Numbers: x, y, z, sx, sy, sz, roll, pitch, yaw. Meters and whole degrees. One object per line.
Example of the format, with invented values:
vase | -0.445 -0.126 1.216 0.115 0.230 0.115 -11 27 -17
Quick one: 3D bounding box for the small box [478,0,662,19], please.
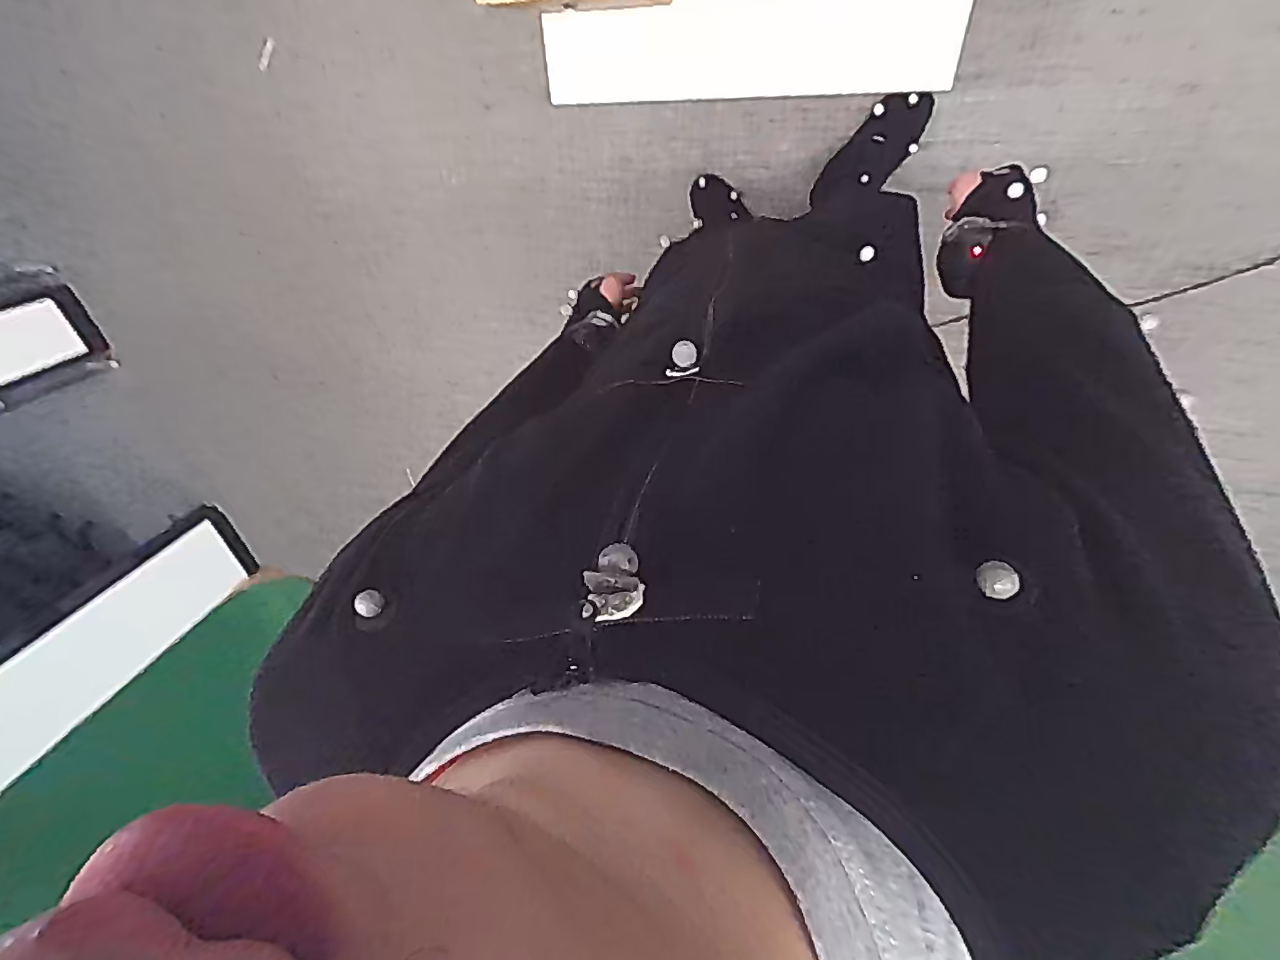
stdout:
small box | -0.068 -0.600 0.567 0.179 0.176 0.168 10 129 16
